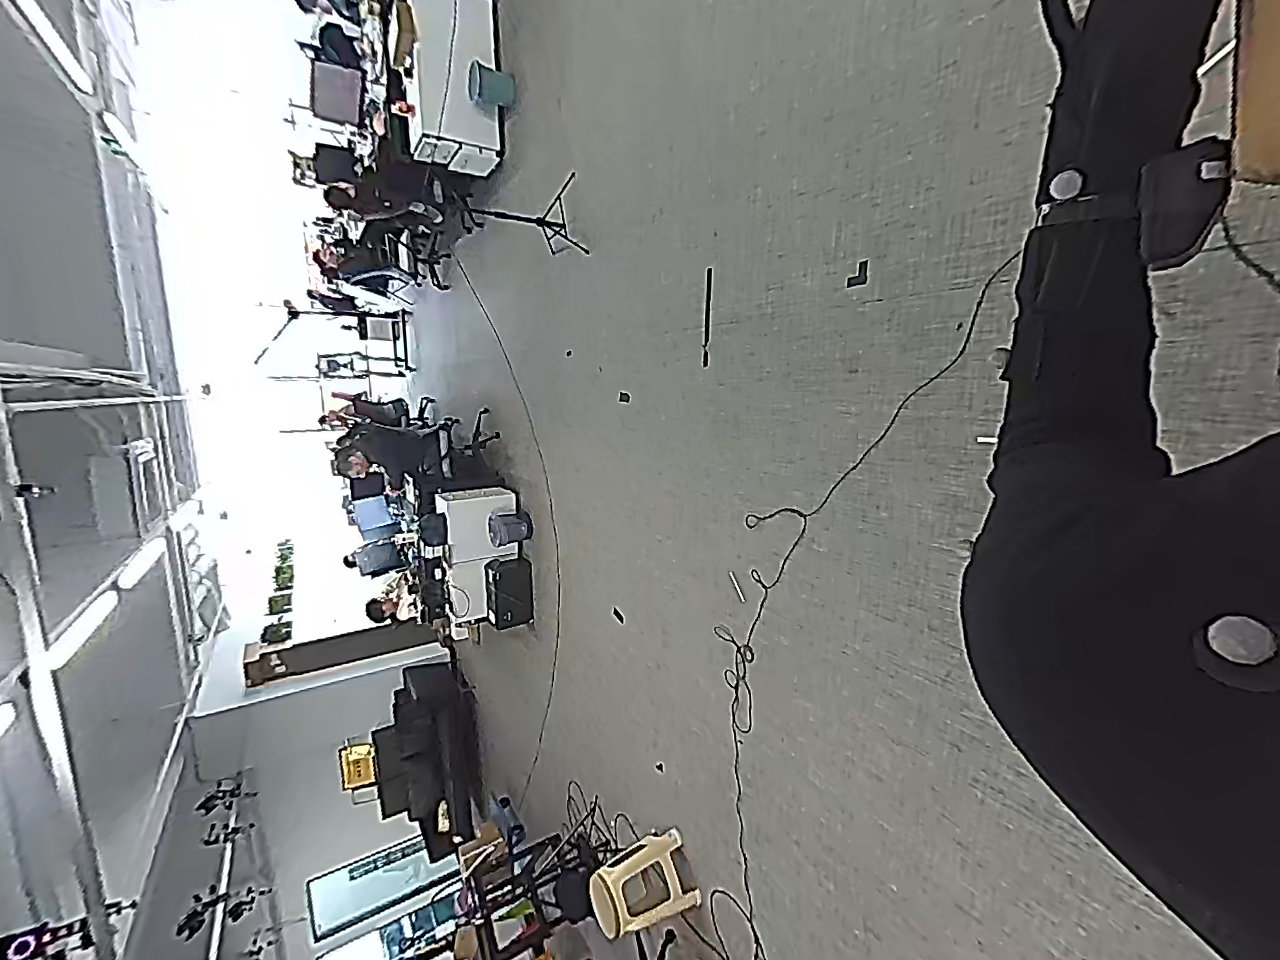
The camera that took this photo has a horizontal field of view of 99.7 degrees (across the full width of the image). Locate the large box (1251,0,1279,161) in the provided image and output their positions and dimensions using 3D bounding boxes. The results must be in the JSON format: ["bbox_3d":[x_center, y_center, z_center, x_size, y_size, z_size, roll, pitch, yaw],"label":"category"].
[{"bbox_3d":[0.528,-0.346,0.179,0.408,0.320,0.320,6,112,55],"label":"large box"}]
